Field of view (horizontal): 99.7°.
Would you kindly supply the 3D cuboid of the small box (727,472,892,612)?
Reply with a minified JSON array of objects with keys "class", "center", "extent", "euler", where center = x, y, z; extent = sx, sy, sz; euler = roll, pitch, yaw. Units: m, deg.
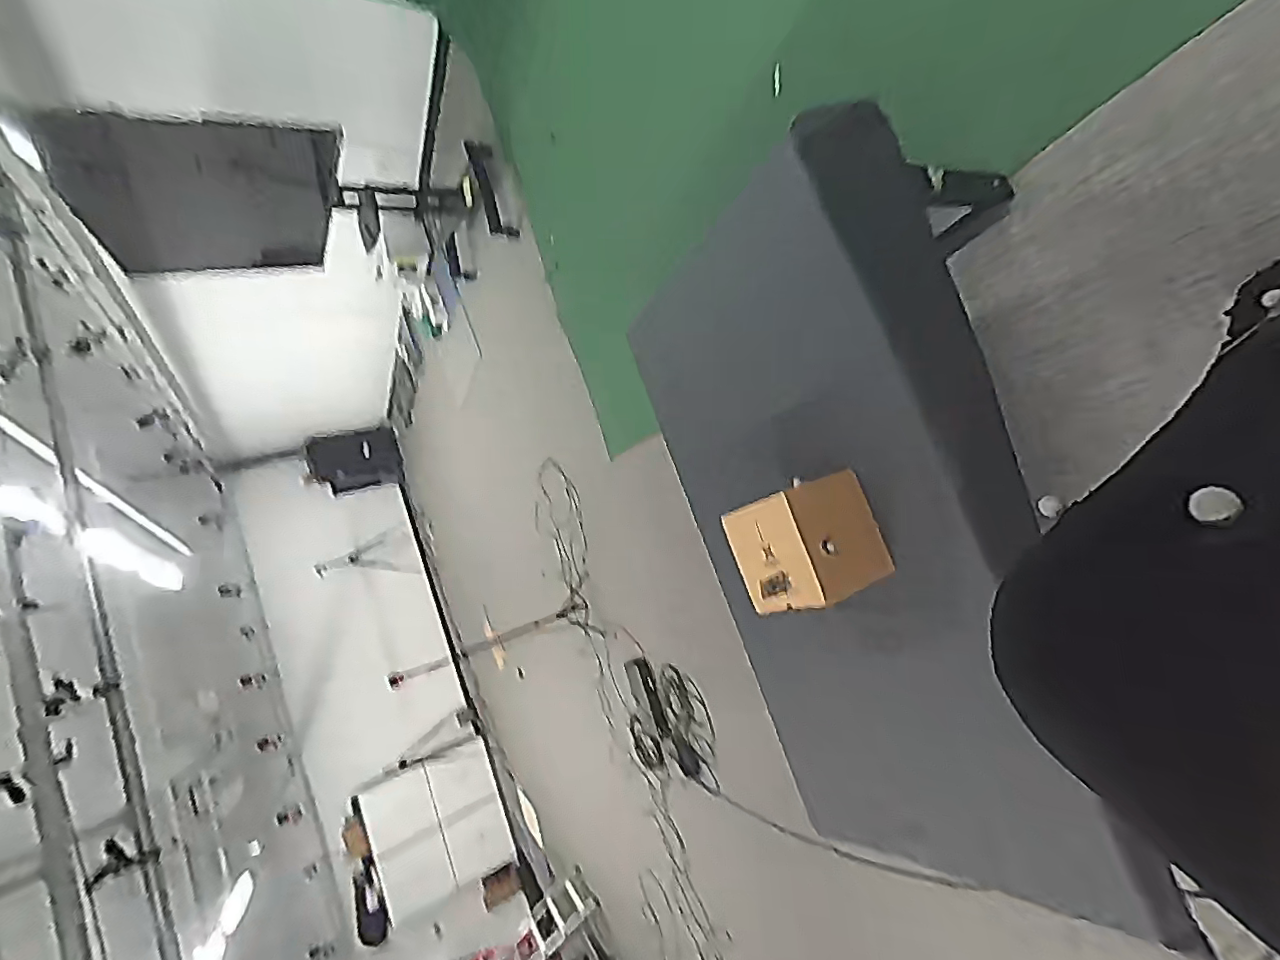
[{"class":"small box","center":[0.281,0.103,0.902],"extent":[0.168,0.176,0.179],"euler":[-34,73,58]}]
